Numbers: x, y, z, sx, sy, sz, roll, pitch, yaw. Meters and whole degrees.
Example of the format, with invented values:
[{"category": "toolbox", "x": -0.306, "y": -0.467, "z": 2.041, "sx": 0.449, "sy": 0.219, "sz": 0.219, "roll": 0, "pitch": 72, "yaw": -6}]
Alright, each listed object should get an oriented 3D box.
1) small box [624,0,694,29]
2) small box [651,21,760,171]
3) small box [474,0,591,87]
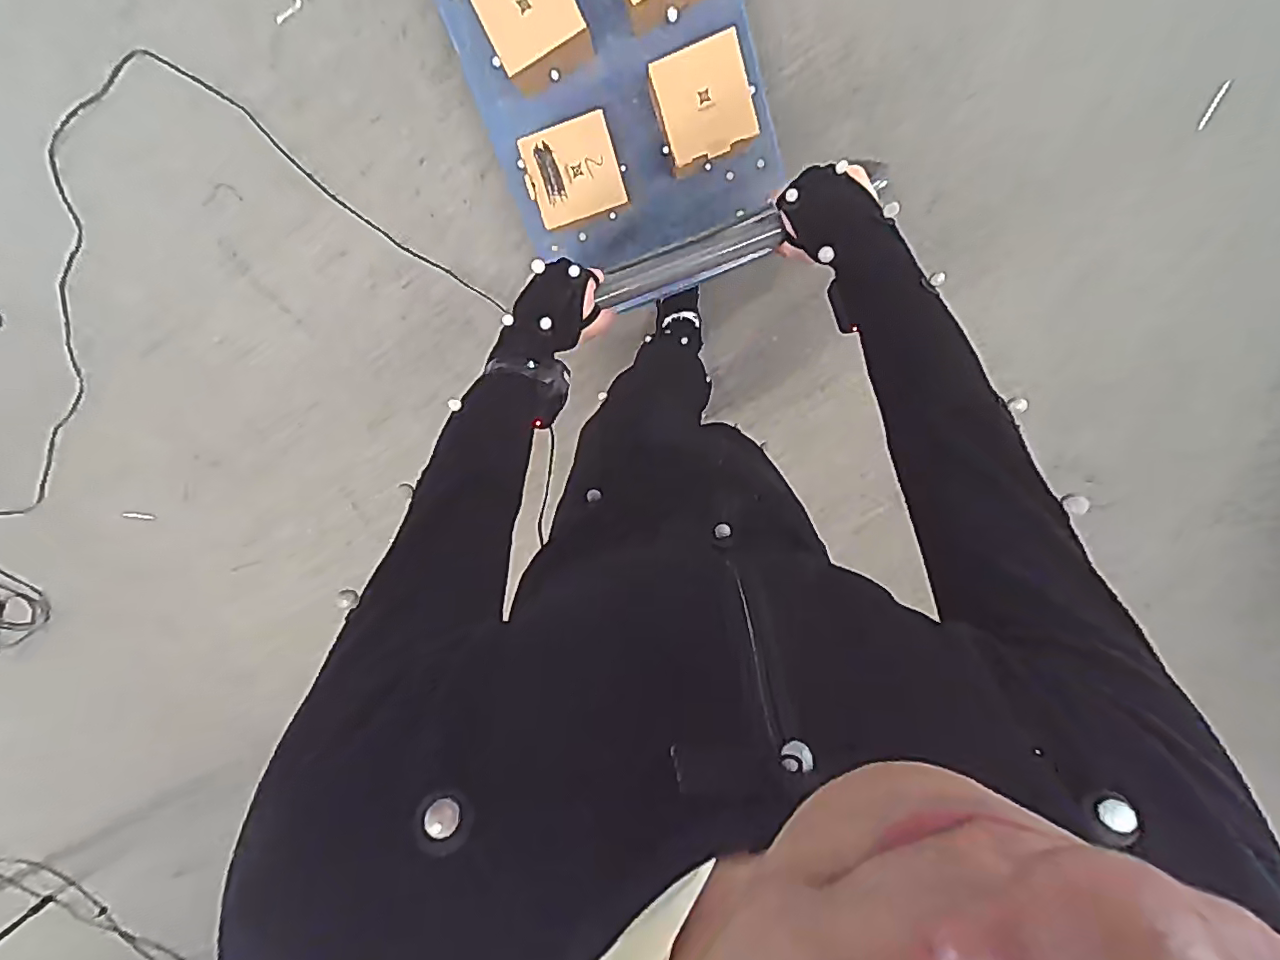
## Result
[{"category": "small box", "x": 0.027, "y": -0.975, "z": 0.973, "sx": 0.168, "sy": 0.176, "sz": 0.179, "roll": -23, "pitch": 110, "yaw": 11}, {"category": "small box", "x": 0.122, "y": -0.742, "z": 1.067, "sx": 0.168, "sy": 0.176, "sz": 0.179, "roll": -18, "pitch": 111, "yaw": 8}, {"category": "small box", "x": -0.204, "y": -0.880, "z": 1.017, "sx": 0.168, "sy": 0.176, "sz": 0.179, "roll": -25, "pitch": 109, "yaw": 10}]
